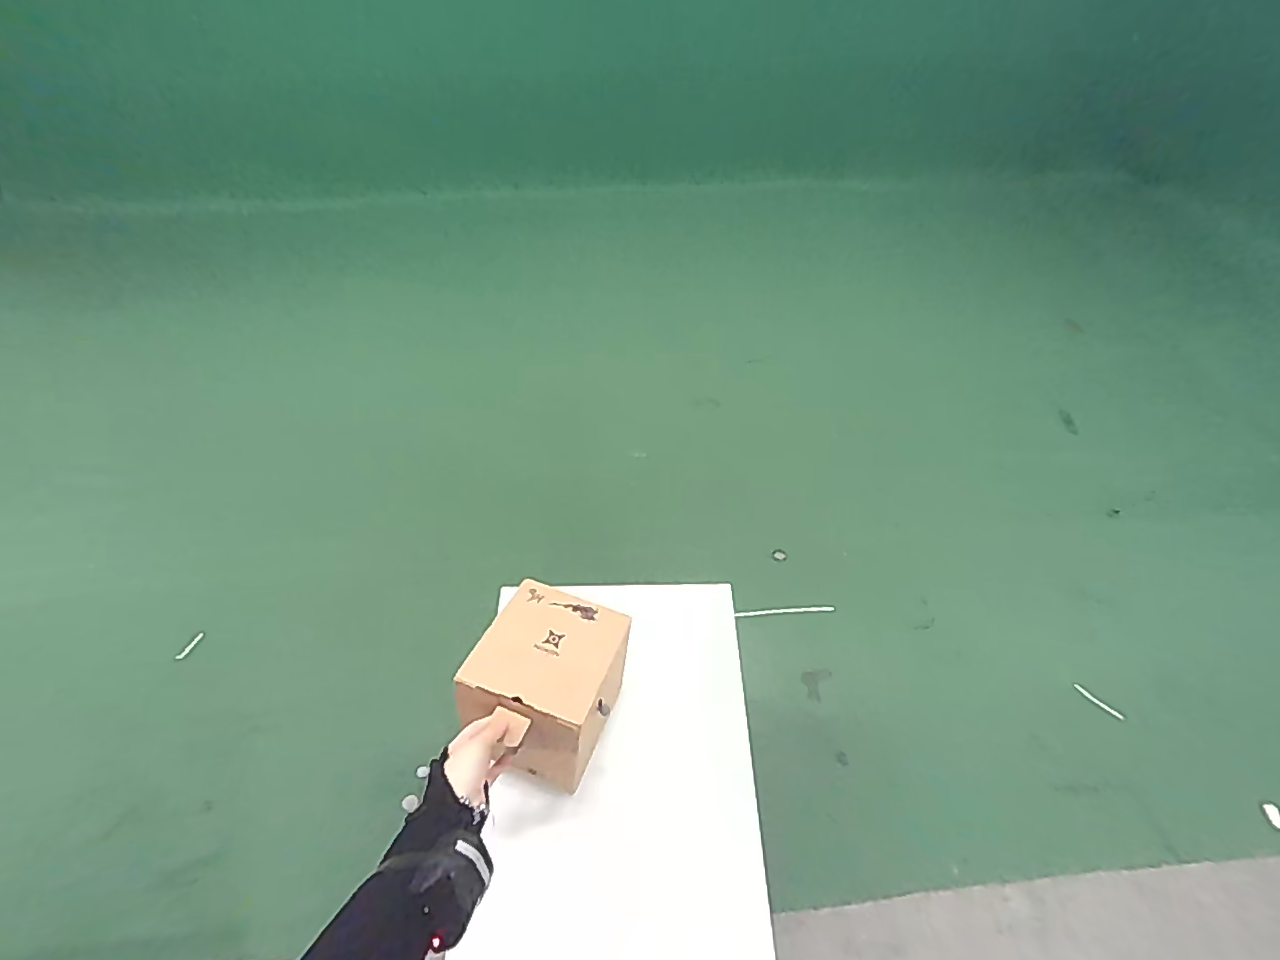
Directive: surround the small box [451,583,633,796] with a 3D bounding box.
[{"bbox_3d":[-0.120,0.275,0.715,0.168,0.176,0.179,18,37,13],"label":"small box"}]
